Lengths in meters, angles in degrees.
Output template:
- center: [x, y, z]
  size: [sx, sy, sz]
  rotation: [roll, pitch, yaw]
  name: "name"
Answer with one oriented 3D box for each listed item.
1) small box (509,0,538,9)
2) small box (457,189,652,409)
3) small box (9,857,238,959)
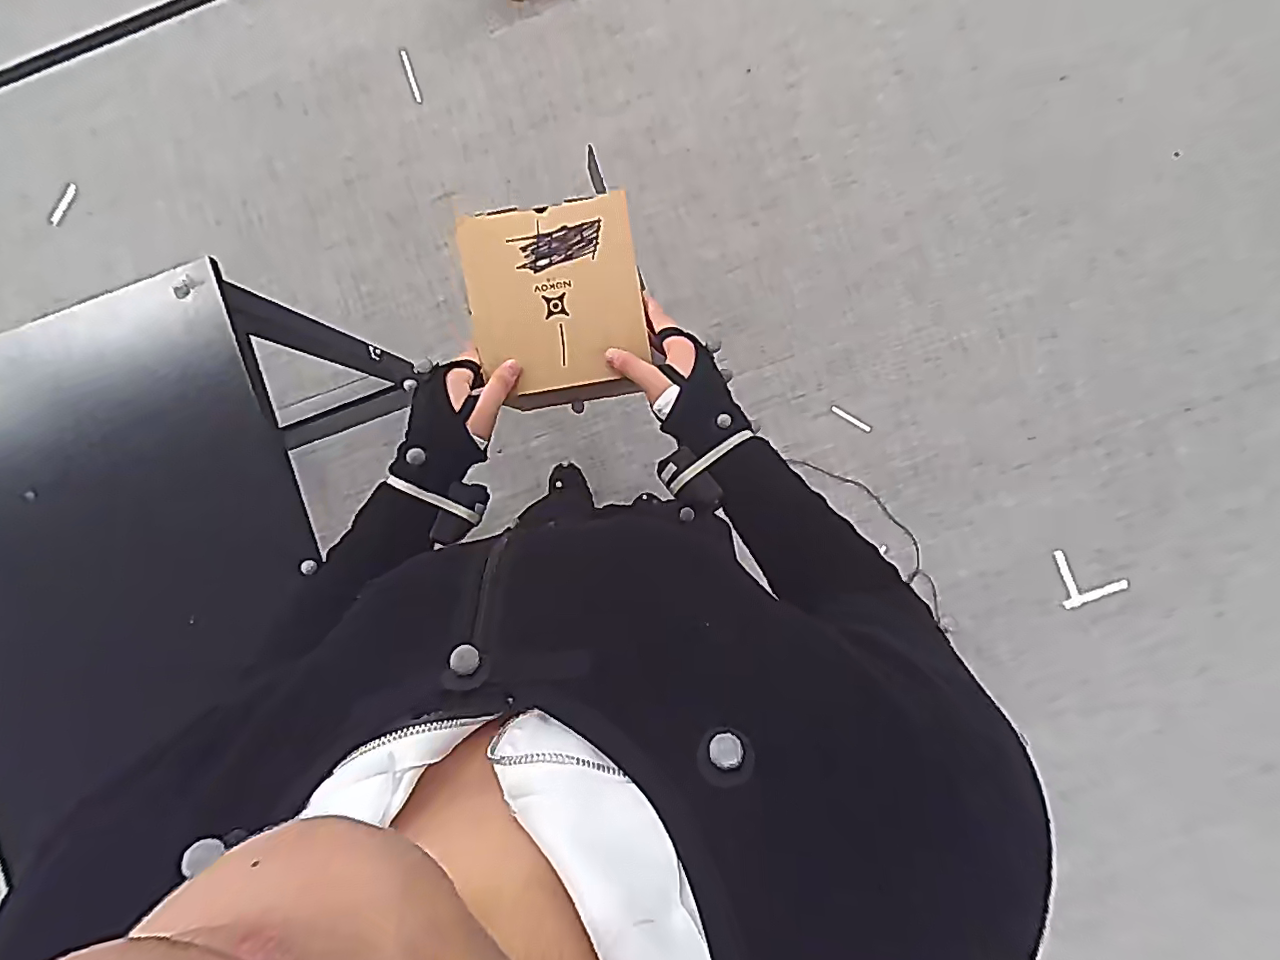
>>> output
- center: [-0.305, -1.424, 1.439]
  size: [0.179, 0.176, 0.168]
  rotation: [-19, 88, 3]
  name: "small box"
- center: [-0.083, -0.183, 0.595]
  size: [0.168, 0.176, 0.179]
  rotation: [-10, 93, 1]
  name: "small box"
- center: [-0.678, 0.645, 0.716]
  size: [0.179, 0.176, 0.168]
  rotation: [-16, 88, 3]
  name: "small box"
